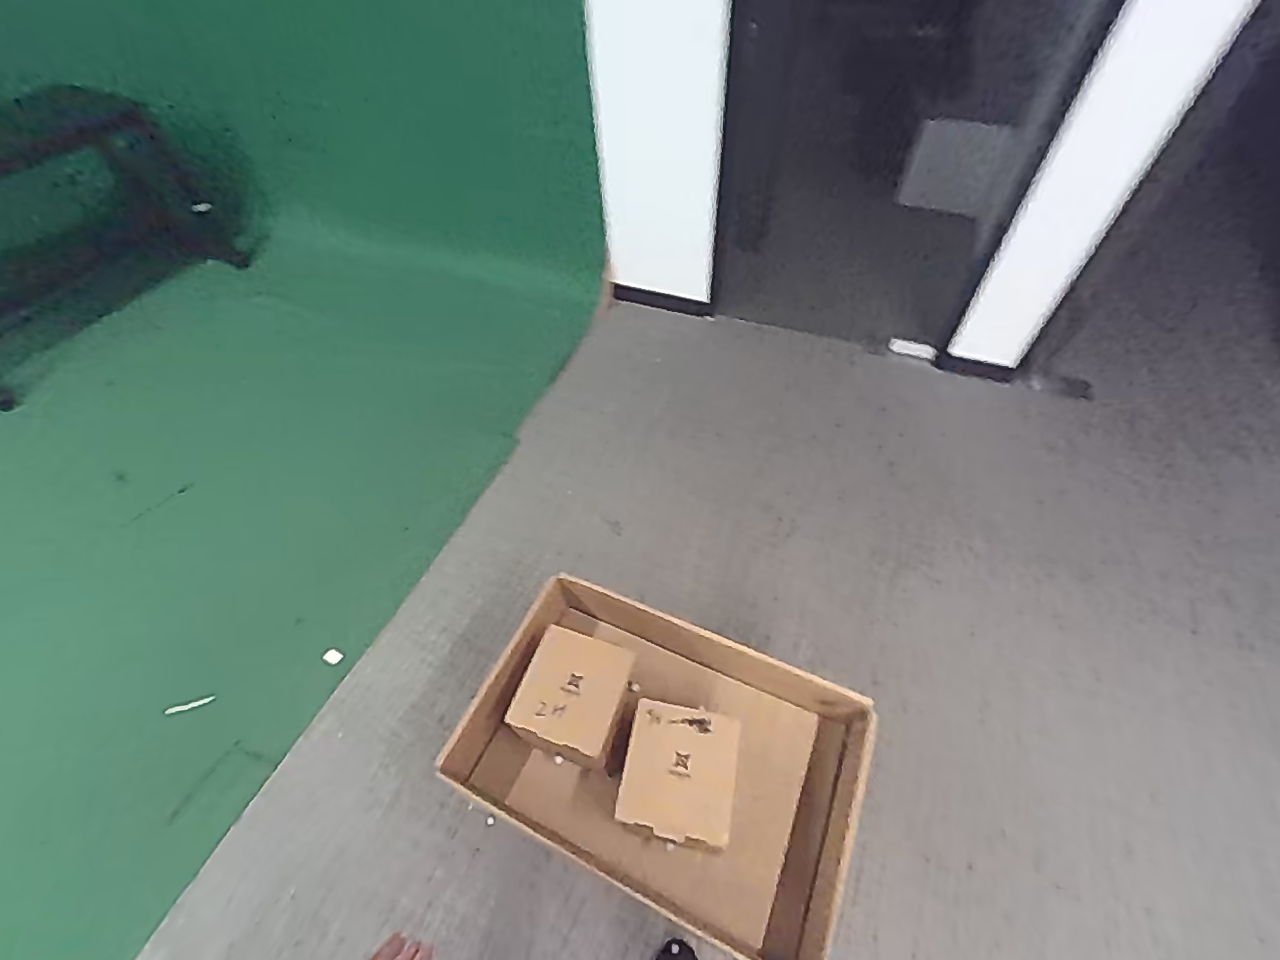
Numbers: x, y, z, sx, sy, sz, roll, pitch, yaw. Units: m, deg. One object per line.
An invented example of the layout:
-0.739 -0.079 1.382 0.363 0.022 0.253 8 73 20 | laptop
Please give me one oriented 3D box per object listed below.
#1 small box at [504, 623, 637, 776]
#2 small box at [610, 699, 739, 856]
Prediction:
-0.110 0.385 0.945 0.168 0.176 0.179 15 54 15 | small box
0.060 0.478 0.864 0.168 0.176 0.179 9 54 10 | small box
